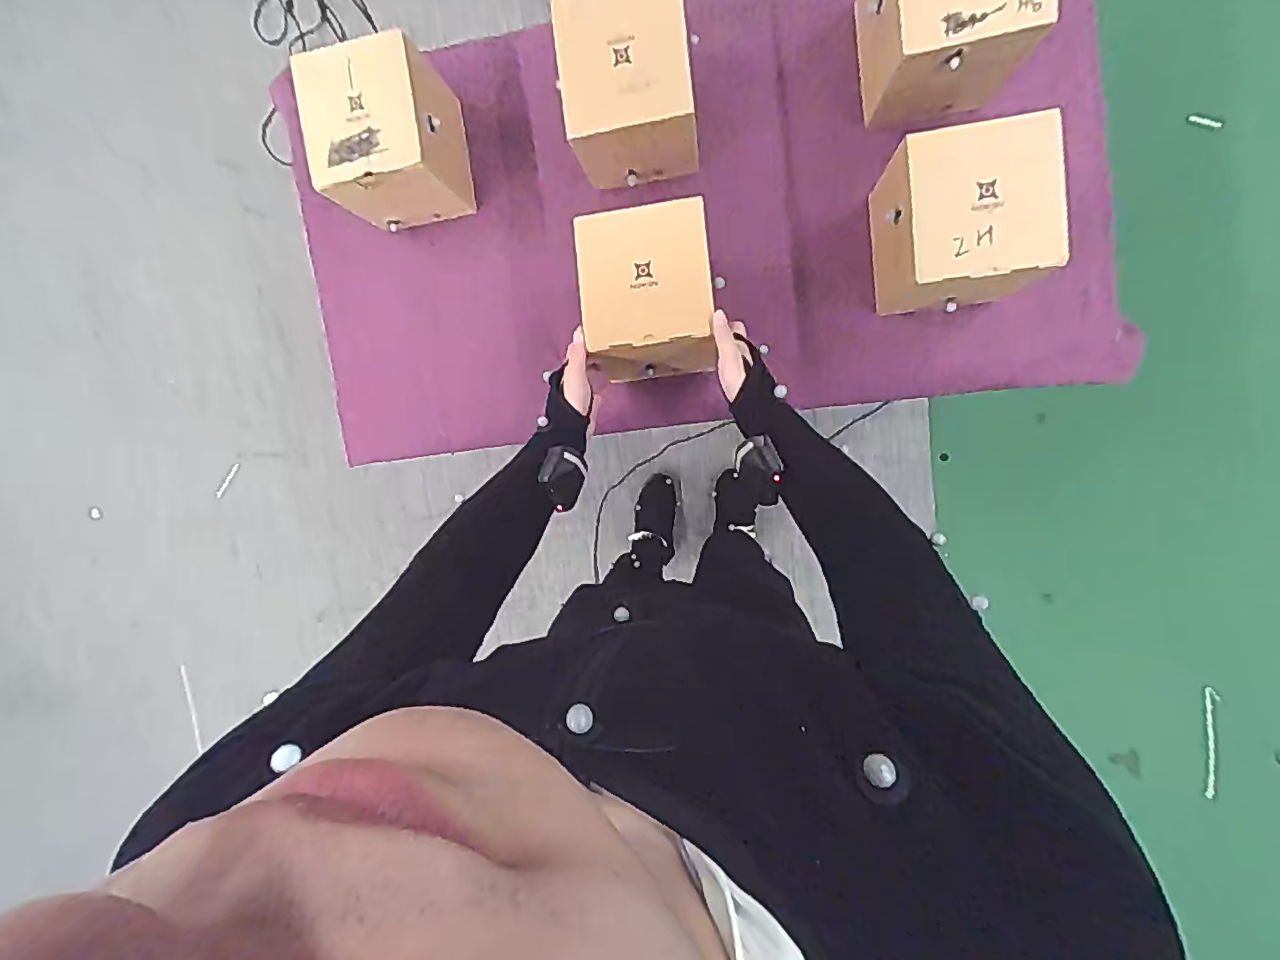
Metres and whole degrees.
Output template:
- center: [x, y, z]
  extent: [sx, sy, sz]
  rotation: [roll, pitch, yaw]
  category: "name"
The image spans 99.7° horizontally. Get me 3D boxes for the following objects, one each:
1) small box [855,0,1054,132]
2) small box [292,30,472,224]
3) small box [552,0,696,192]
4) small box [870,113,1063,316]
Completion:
- center: [0.381, -0.588, 0.685]
  extent: [0.168, 0.176, 0.179]
  rotation: [-6, 95, 9]
  category: "small box"
- center: [-0.366, -0.499, 0.798]
  extent: [0.168, 0.176, 0.179]
  rotation: [-7, 94, 8]
  category: "small box"
- center: [-0.012, -0.534, 0.748]
  extent: [0.168, 0.176, 0.179]
  rotation: [-5, 95, 9]
  category: "small box"
- center: [0.407, -0.327, 0.703]
  extent: [0.168, 0.176, 0.179]
  rotation: [-4, 93, 10]
  category: "small box"
